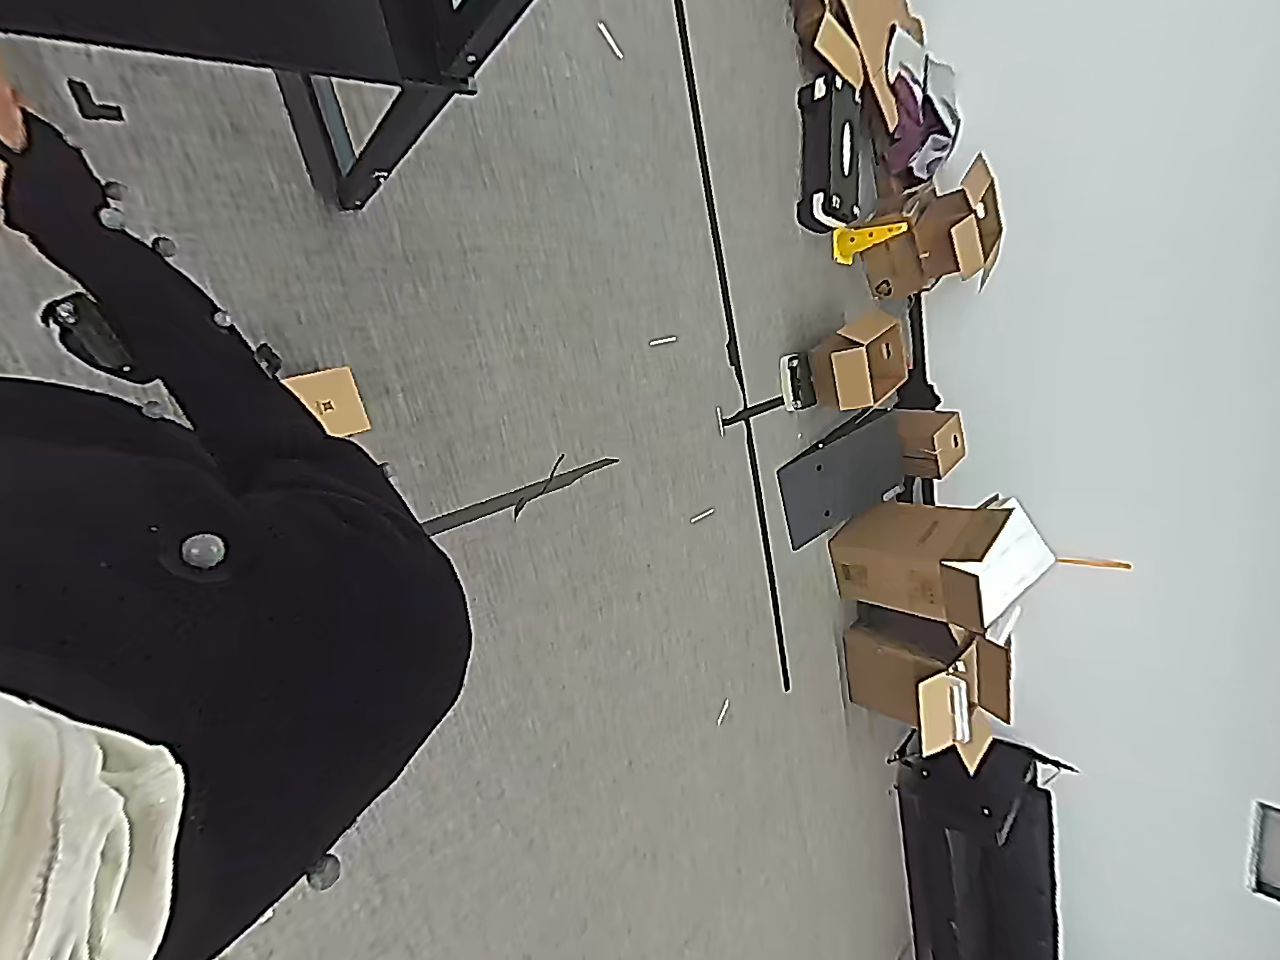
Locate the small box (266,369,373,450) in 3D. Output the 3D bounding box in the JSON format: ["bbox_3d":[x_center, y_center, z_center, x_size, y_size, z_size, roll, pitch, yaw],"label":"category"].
[{"bbox_3d":[-0.816,-0.181,1.375,0.179,0.176,0.168,-25,109,-36],"label":"small box"}]
